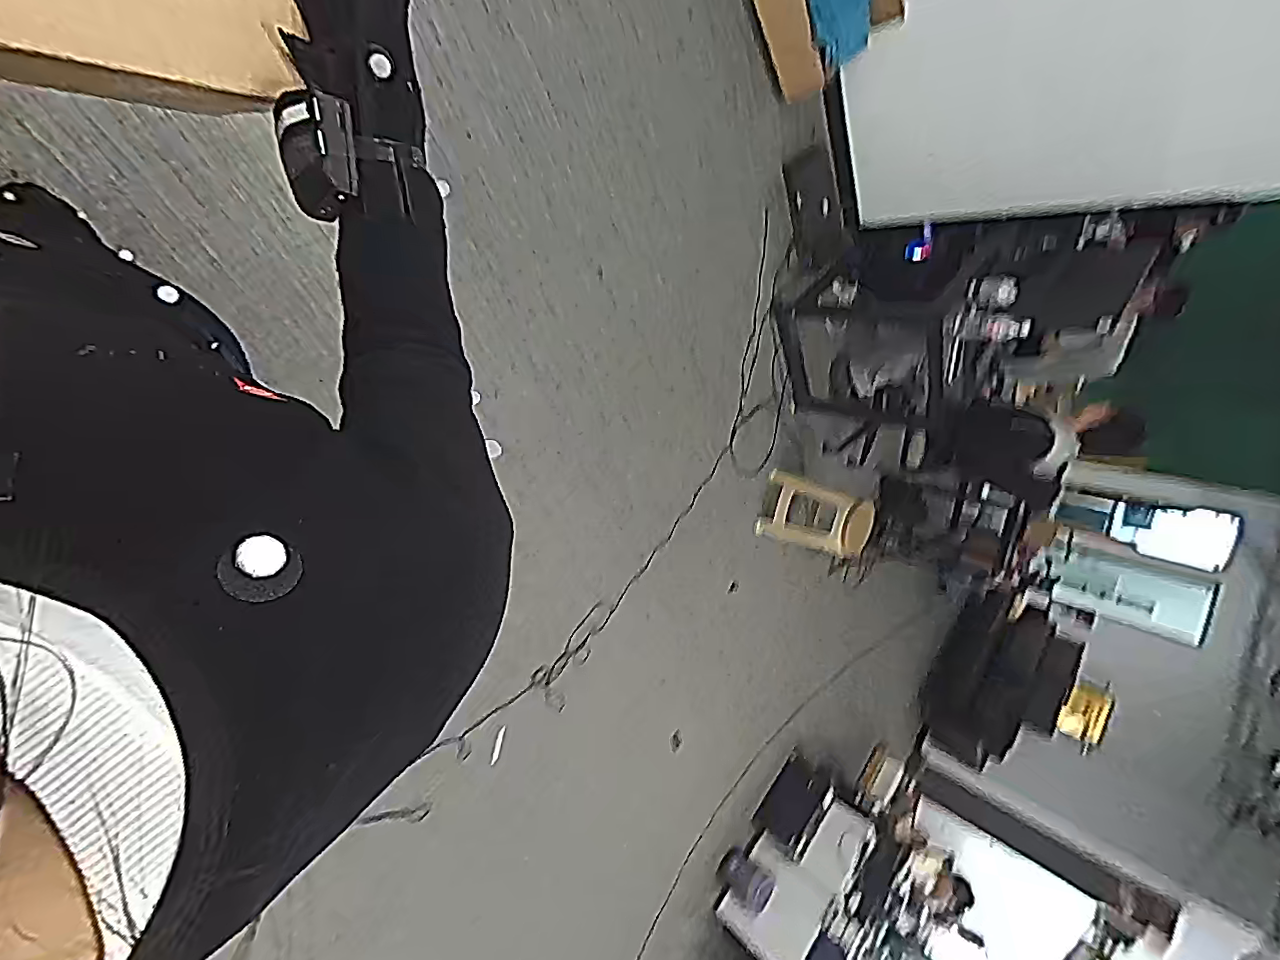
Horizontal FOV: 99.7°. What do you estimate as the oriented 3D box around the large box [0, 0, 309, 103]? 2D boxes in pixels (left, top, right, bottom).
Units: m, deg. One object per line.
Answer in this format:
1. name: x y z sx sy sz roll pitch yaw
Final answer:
1. large box: -0.457 -0.407 0.263 0.408 0.320 0.320 -20 128 -42
